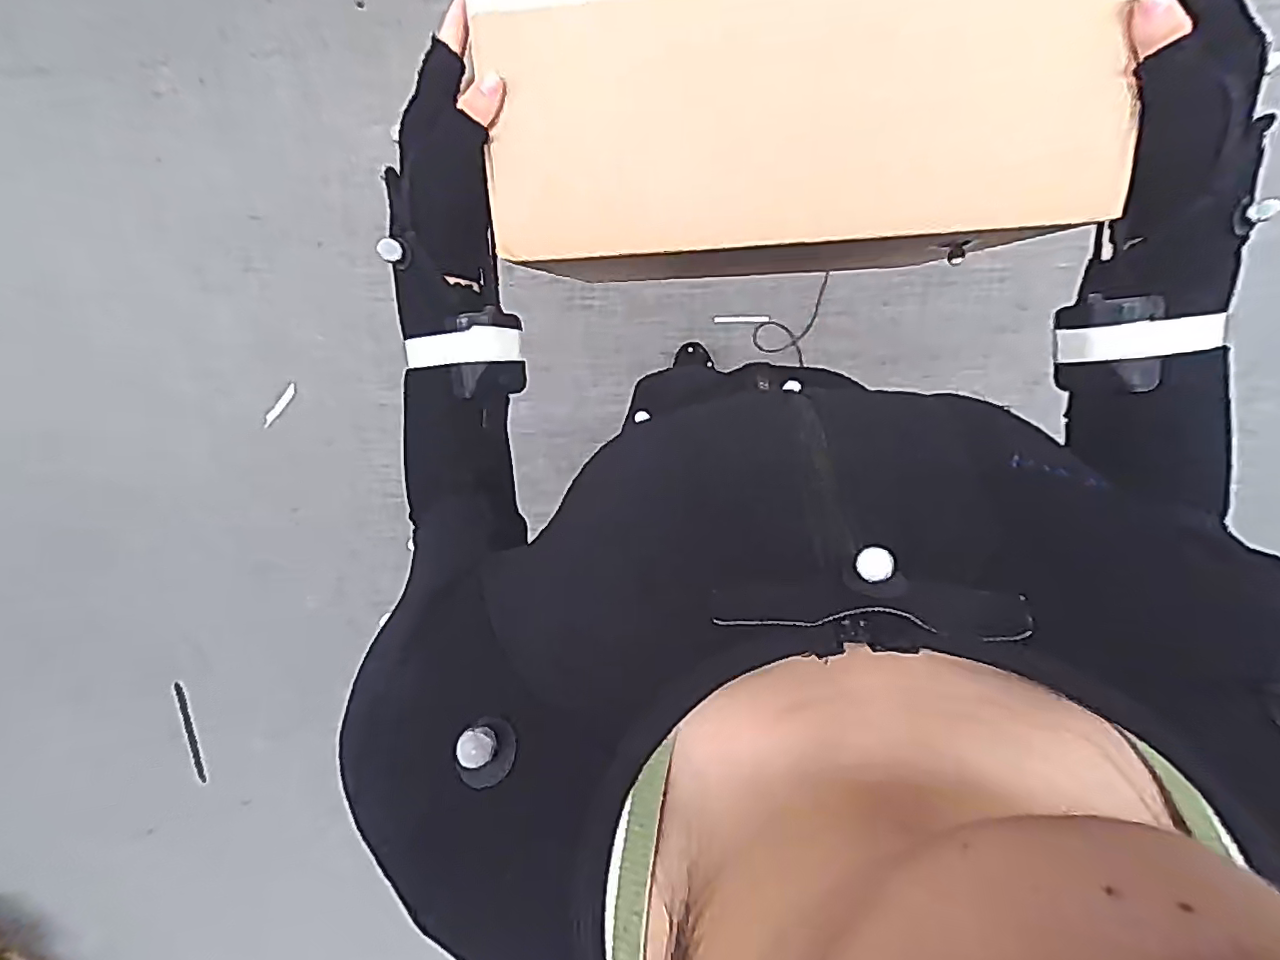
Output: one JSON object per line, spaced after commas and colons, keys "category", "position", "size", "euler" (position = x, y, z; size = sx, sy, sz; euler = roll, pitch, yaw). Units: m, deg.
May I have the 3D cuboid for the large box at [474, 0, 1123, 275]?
{"category": "large box", "position": [0.105, -0.360, 0.471], "size": [0.408, 0.320, 0.320], "euler": [-1, 107, 7]}
